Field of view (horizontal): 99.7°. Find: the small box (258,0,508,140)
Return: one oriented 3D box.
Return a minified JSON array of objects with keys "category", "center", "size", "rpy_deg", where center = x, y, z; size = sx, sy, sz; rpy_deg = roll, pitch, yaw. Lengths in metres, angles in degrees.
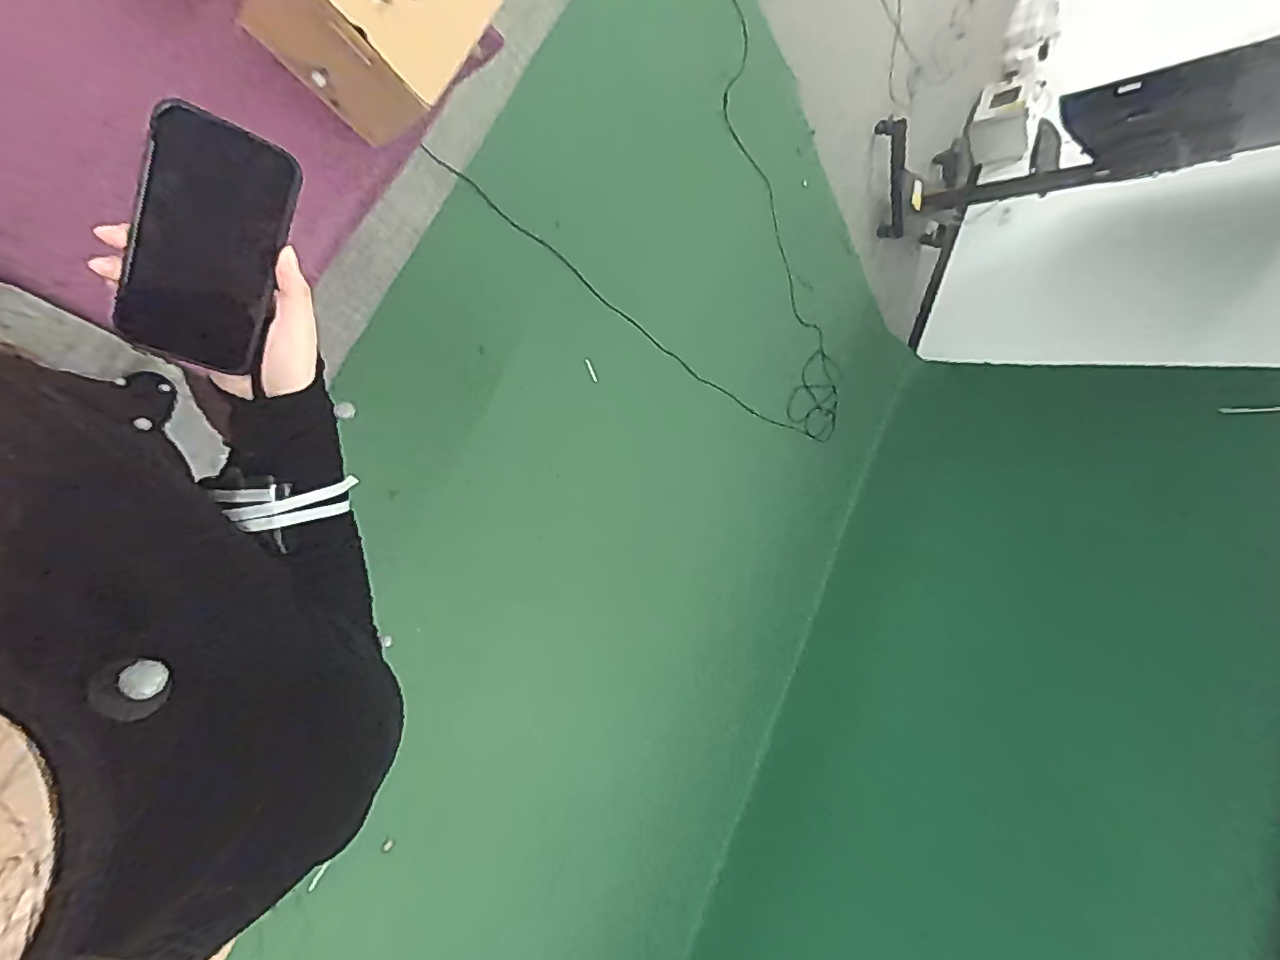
[{"category":"small box","center":[-0.288,-0.528,0.603],"size":[0.168,0.176,0.179],"rpy_deg":[37,74,-42]}]
